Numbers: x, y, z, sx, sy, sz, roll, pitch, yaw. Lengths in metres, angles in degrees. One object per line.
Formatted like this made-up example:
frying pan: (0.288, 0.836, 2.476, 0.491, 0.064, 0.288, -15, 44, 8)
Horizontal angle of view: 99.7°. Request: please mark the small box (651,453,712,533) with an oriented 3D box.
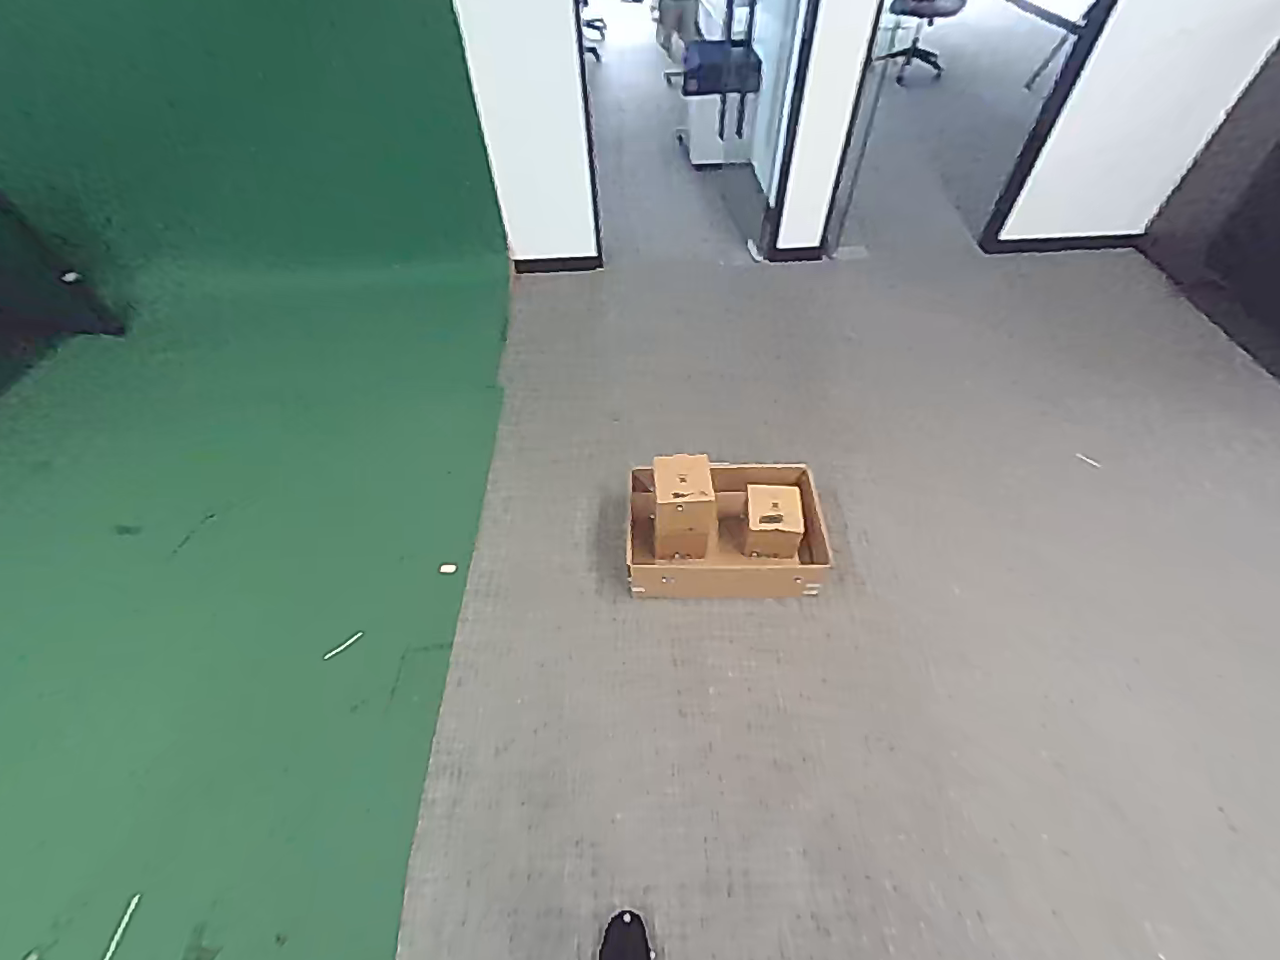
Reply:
small box: (0.120, 0.040, 1.626, 0.168, 0.176, 0.179, -3, 51, -1)
